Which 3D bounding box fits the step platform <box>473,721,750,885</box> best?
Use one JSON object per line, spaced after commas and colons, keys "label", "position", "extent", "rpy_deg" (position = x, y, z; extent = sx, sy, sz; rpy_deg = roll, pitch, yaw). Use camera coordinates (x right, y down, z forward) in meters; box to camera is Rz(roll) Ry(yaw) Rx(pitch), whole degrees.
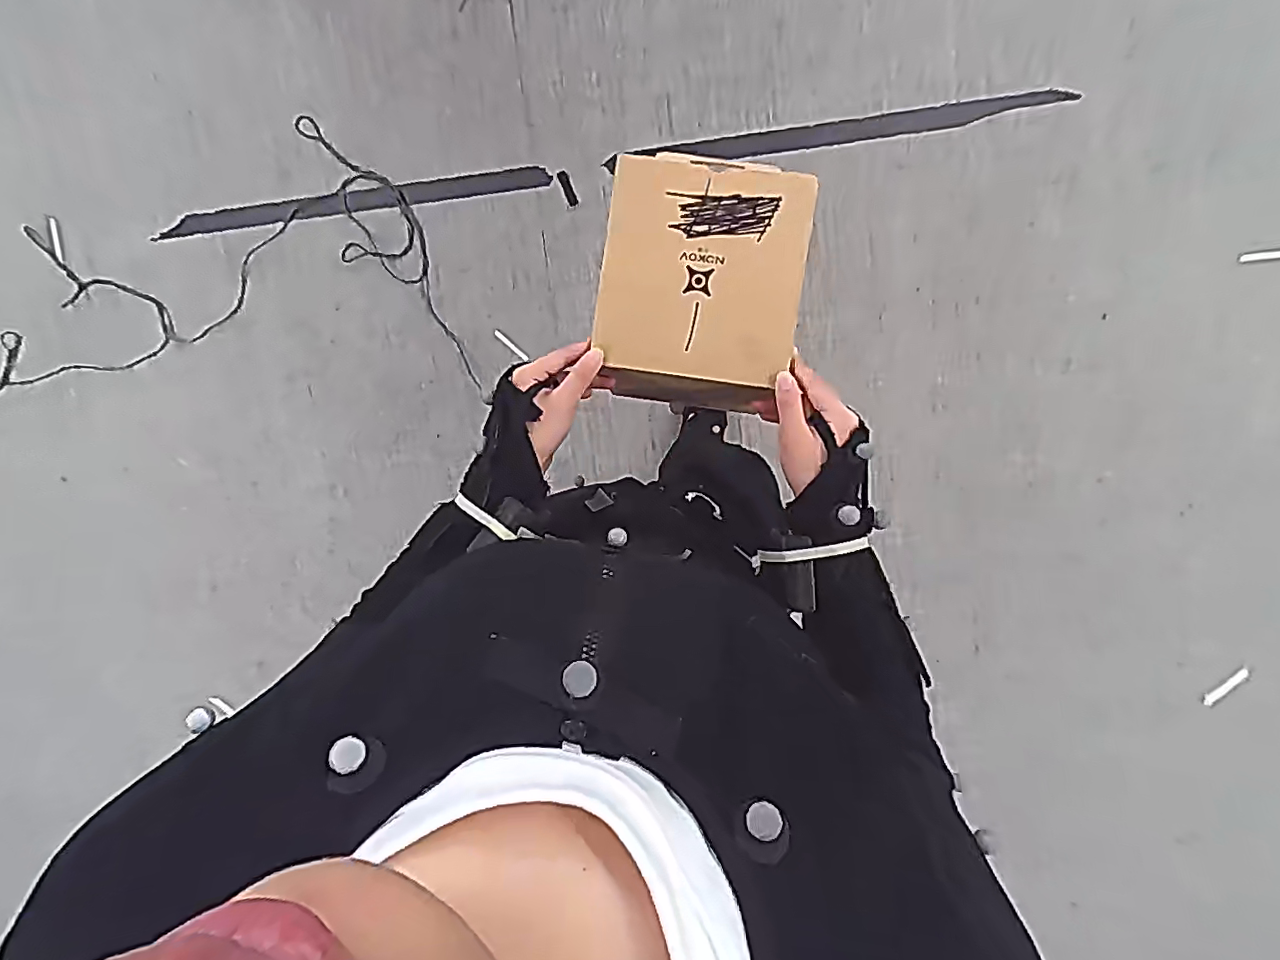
{"label": "step platform", "position": [-0.069, 0.815, 1.370], "extent": [0.684, 0.204, 0.286], "rpy_deg": [-7, 97, 4]}

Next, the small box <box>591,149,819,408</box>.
{"label": "small box", "position": [0.057, -0.176, 0.520], "extent": [0.168, 0.176, 0.179], "rpy_deg": [9, 91, 4]}
